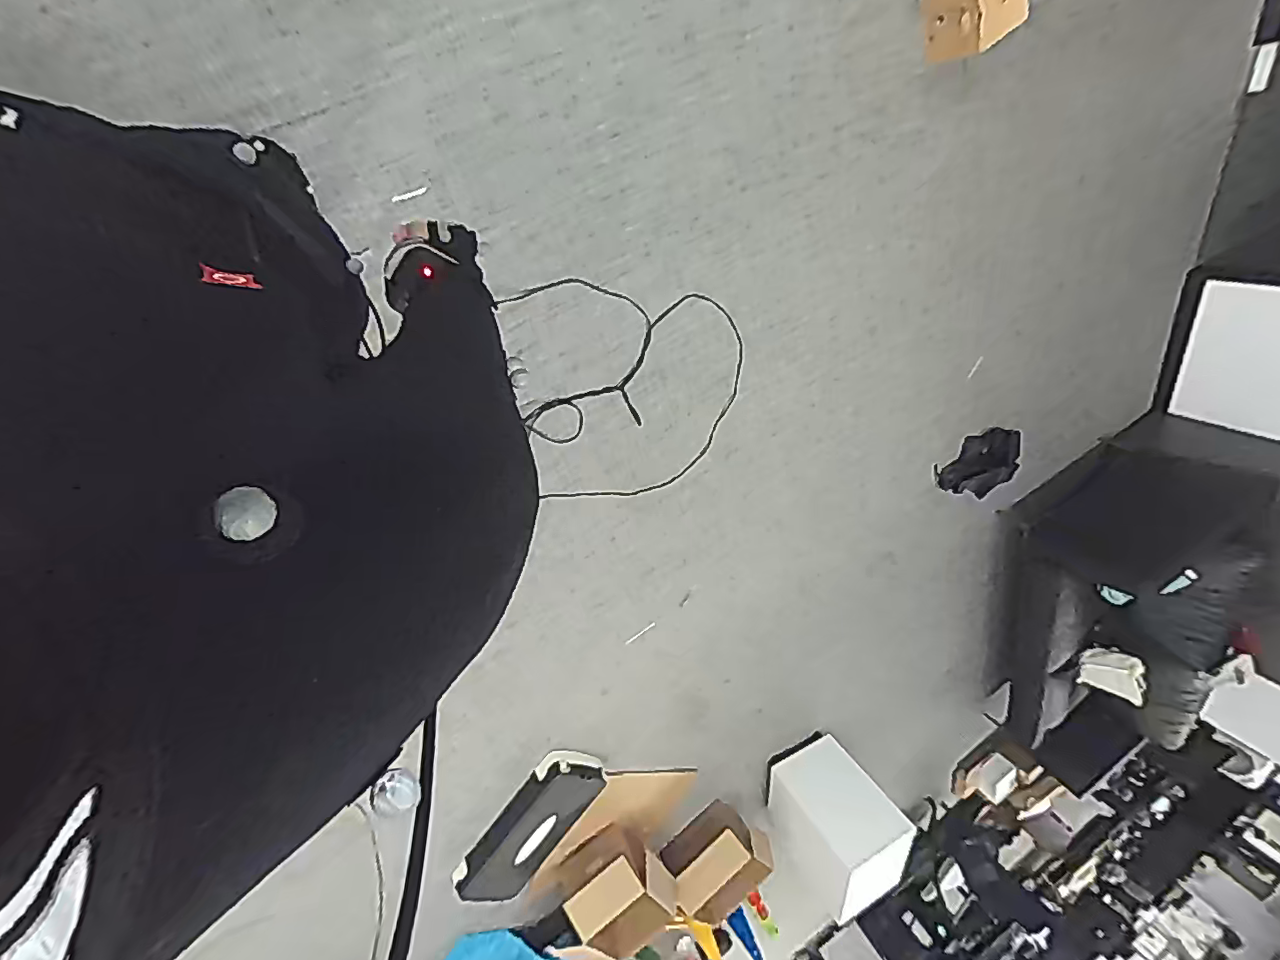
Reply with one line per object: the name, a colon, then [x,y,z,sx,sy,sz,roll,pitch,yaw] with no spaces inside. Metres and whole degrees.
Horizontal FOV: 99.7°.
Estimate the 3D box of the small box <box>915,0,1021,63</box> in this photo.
small box: [0.863,-1.244,1.424,0.179,0.176,0.168,-38,128,-6]
